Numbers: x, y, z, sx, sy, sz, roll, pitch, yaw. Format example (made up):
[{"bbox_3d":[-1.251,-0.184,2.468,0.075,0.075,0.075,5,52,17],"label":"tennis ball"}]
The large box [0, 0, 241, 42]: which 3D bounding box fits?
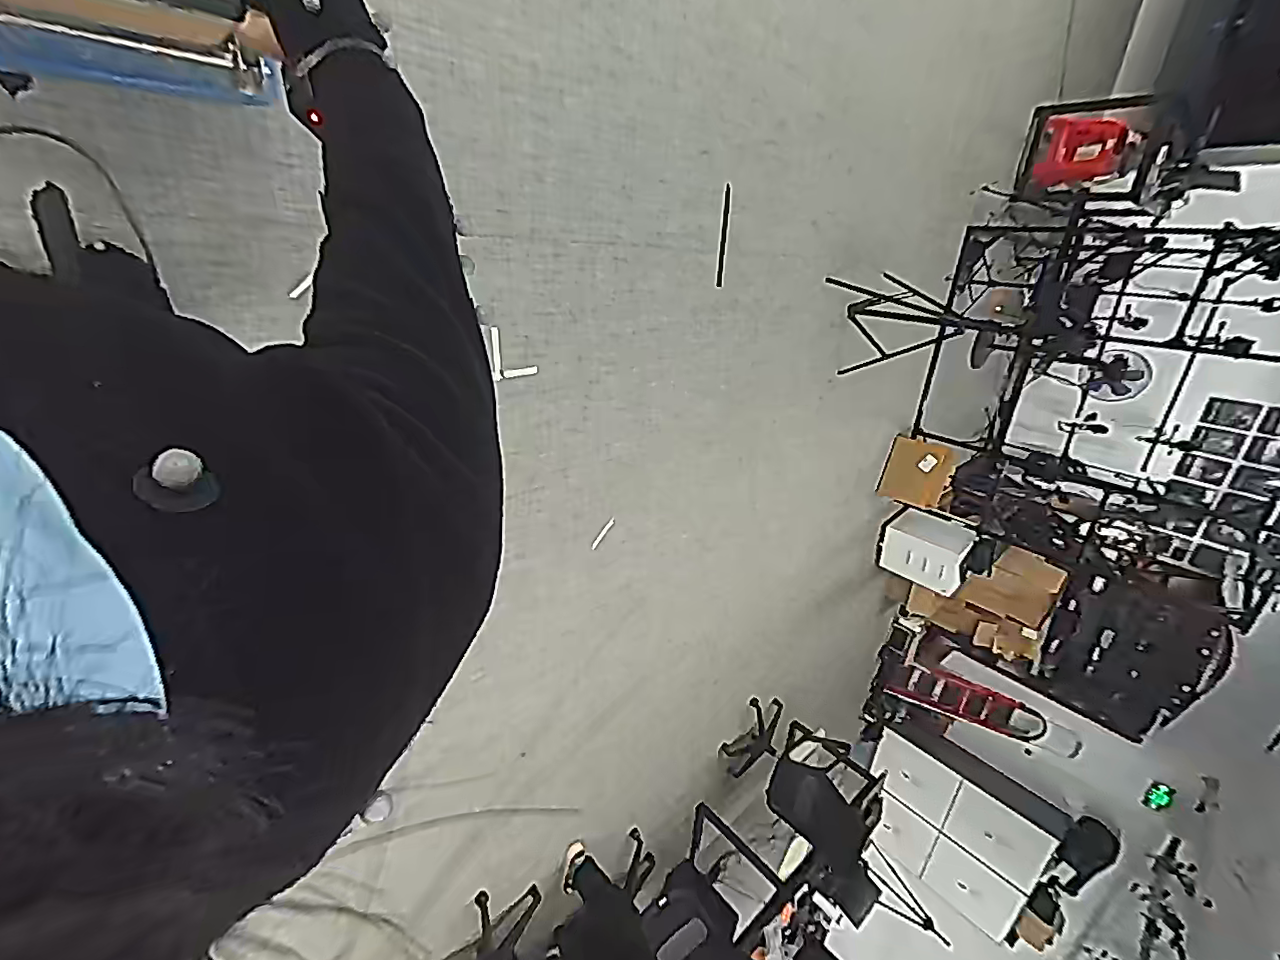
[{"bbox_3d":[-0.767,-0.776,0.630,0.408,0.320,0.320,-19,123,-40],"label":"large box"}]
